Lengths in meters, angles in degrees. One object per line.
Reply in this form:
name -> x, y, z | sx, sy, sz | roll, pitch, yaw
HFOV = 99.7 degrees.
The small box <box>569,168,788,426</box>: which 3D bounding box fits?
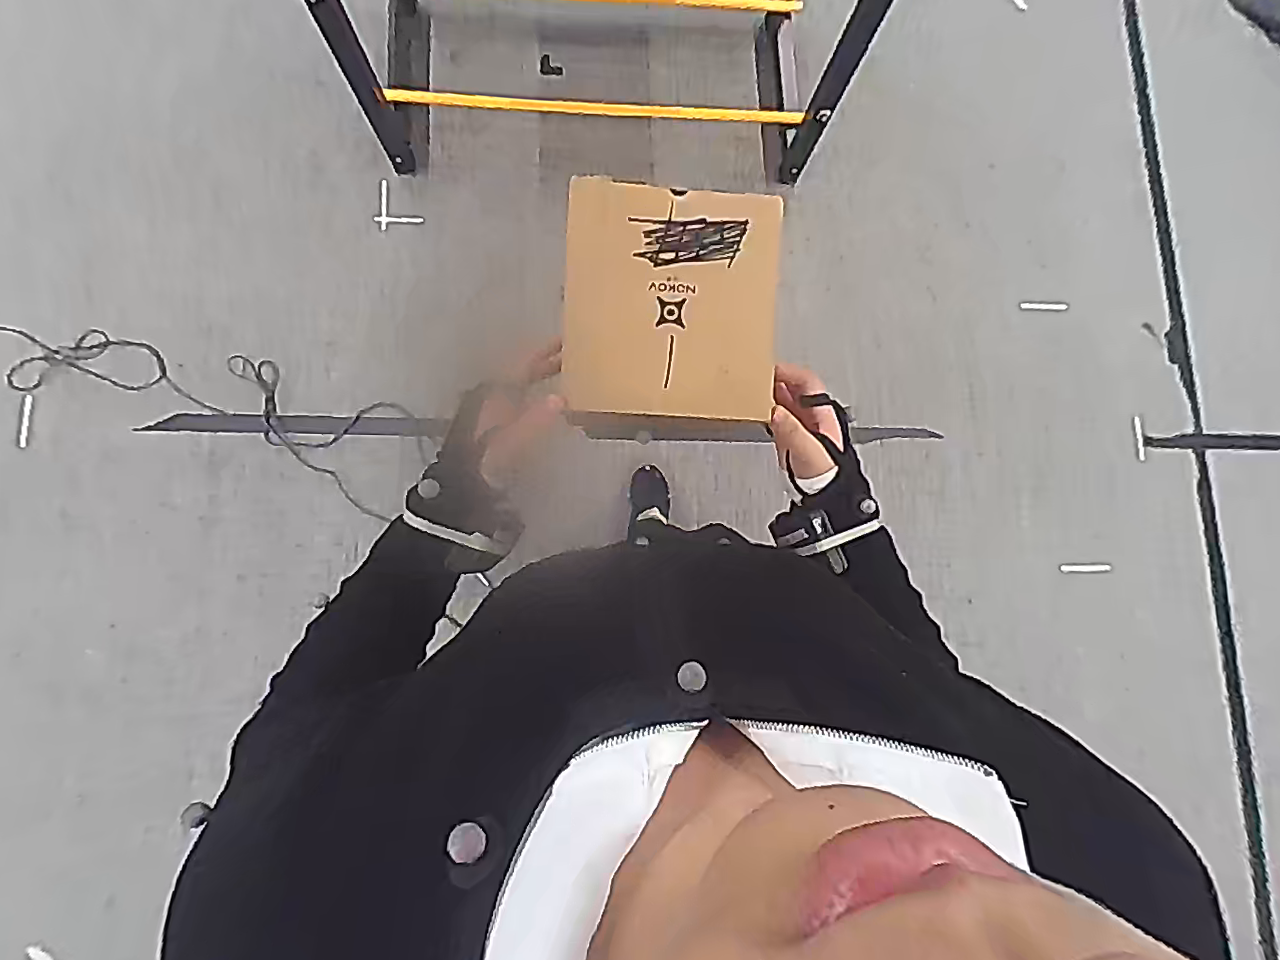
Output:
small box -> 0.023, -0.146, 0.492 | 0.168, 0.176, 0.179 | 2, 92, -5
